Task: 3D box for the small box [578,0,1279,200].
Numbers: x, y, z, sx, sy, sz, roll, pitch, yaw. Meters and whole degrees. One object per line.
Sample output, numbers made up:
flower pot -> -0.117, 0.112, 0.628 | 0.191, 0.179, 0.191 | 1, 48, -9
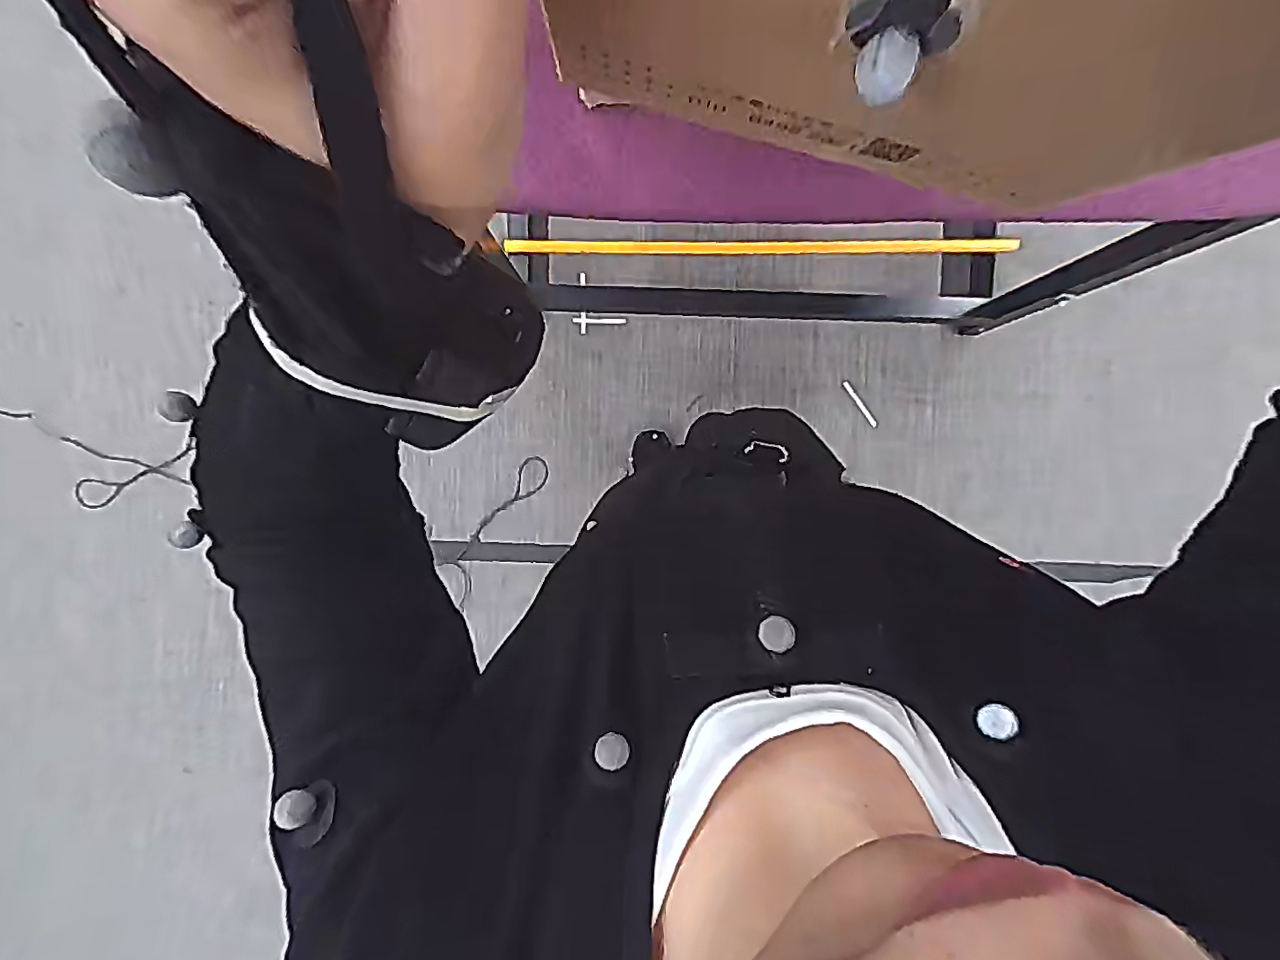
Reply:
small box -> 0.079, -0.167, 0.082 | 0.168, 0.176, 0.179 | 13, 105, -6
